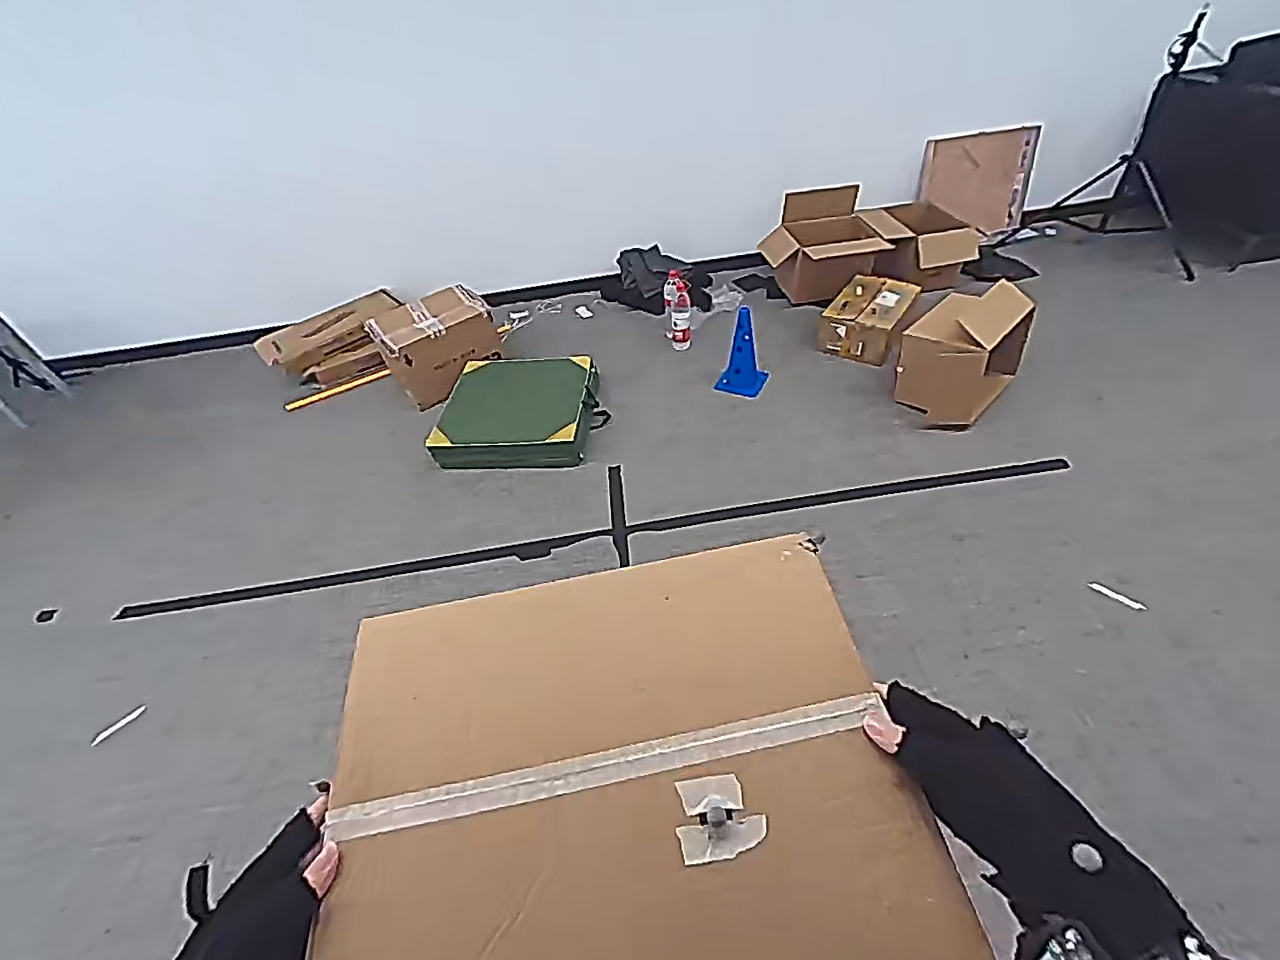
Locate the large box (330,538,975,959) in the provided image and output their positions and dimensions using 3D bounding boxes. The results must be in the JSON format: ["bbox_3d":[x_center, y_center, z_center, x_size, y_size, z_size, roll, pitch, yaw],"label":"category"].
[{"bbox_3d":[-0.006,0.301,0.520,0.408,0.320,0.320,-11,52,-3],"label":"large box"}]
